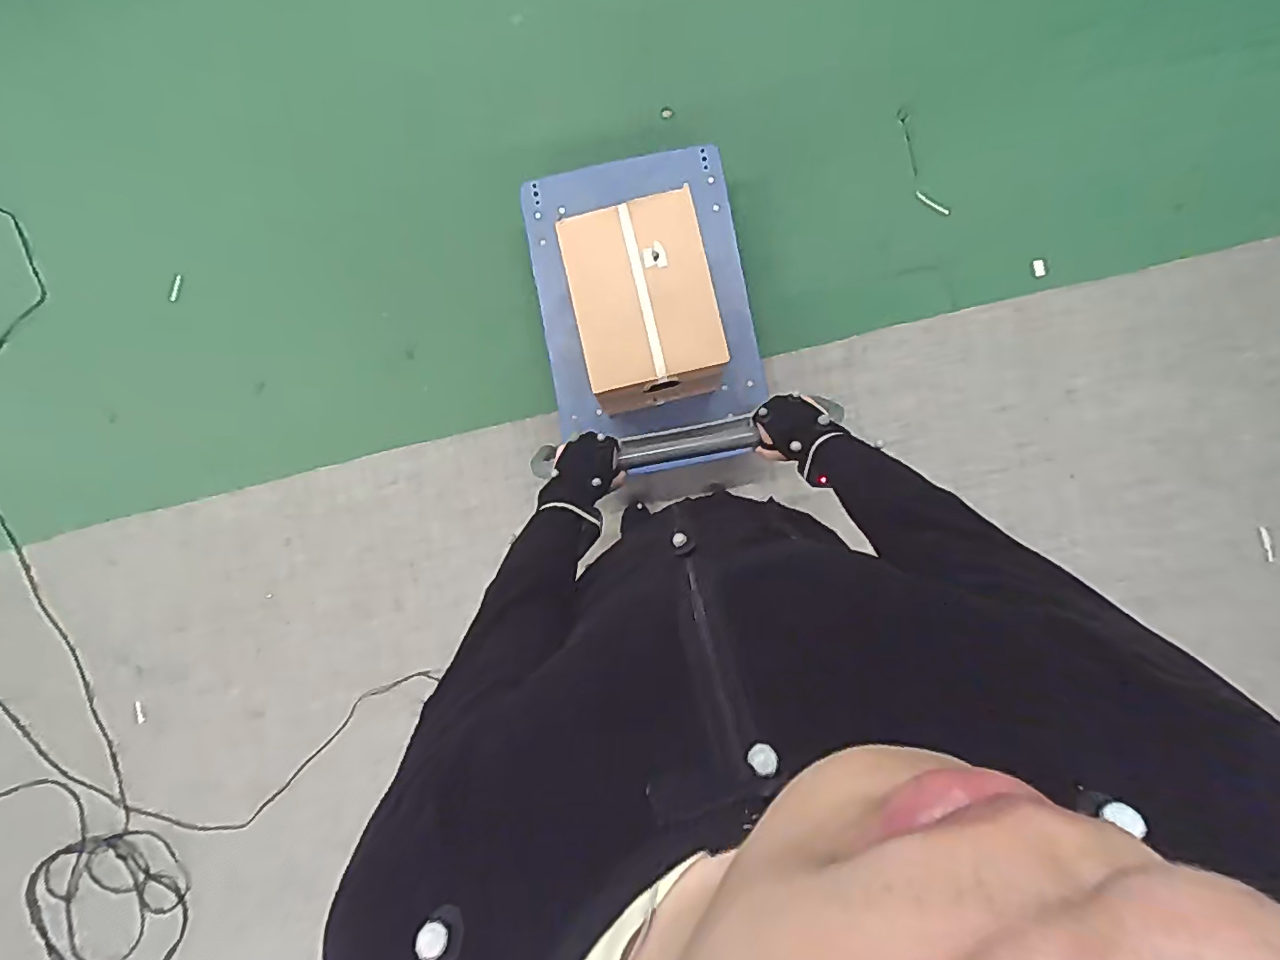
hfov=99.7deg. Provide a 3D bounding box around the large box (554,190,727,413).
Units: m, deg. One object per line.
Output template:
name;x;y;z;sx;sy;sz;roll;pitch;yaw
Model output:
large box;0.009;-0.417;1.352;0.320;0.320;0.408;-13;87;2
